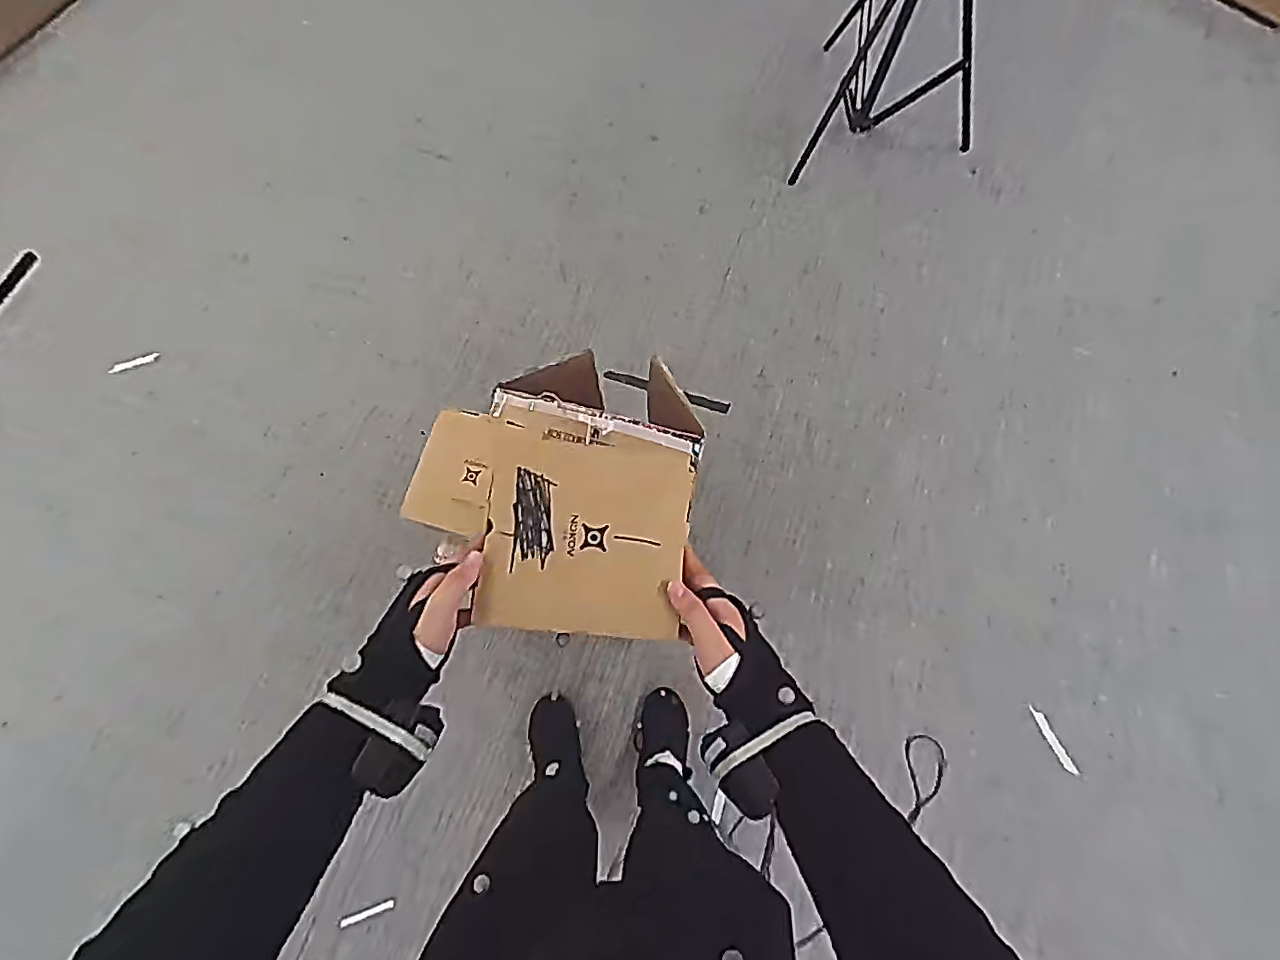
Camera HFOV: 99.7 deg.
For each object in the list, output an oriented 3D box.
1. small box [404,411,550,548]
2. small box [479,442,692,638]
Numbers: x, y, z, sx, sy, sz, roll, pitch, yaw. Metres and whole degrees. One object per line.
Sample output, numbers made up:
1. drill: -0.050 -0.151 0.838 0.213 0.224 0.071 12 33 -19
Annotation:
1. small box: -0.233 0.015 0.854 0.168 0.176 0.179 14 79 7
2. small box: -0.048 0.069 0.559 0.179 0.176 0.168 5 77 -1
